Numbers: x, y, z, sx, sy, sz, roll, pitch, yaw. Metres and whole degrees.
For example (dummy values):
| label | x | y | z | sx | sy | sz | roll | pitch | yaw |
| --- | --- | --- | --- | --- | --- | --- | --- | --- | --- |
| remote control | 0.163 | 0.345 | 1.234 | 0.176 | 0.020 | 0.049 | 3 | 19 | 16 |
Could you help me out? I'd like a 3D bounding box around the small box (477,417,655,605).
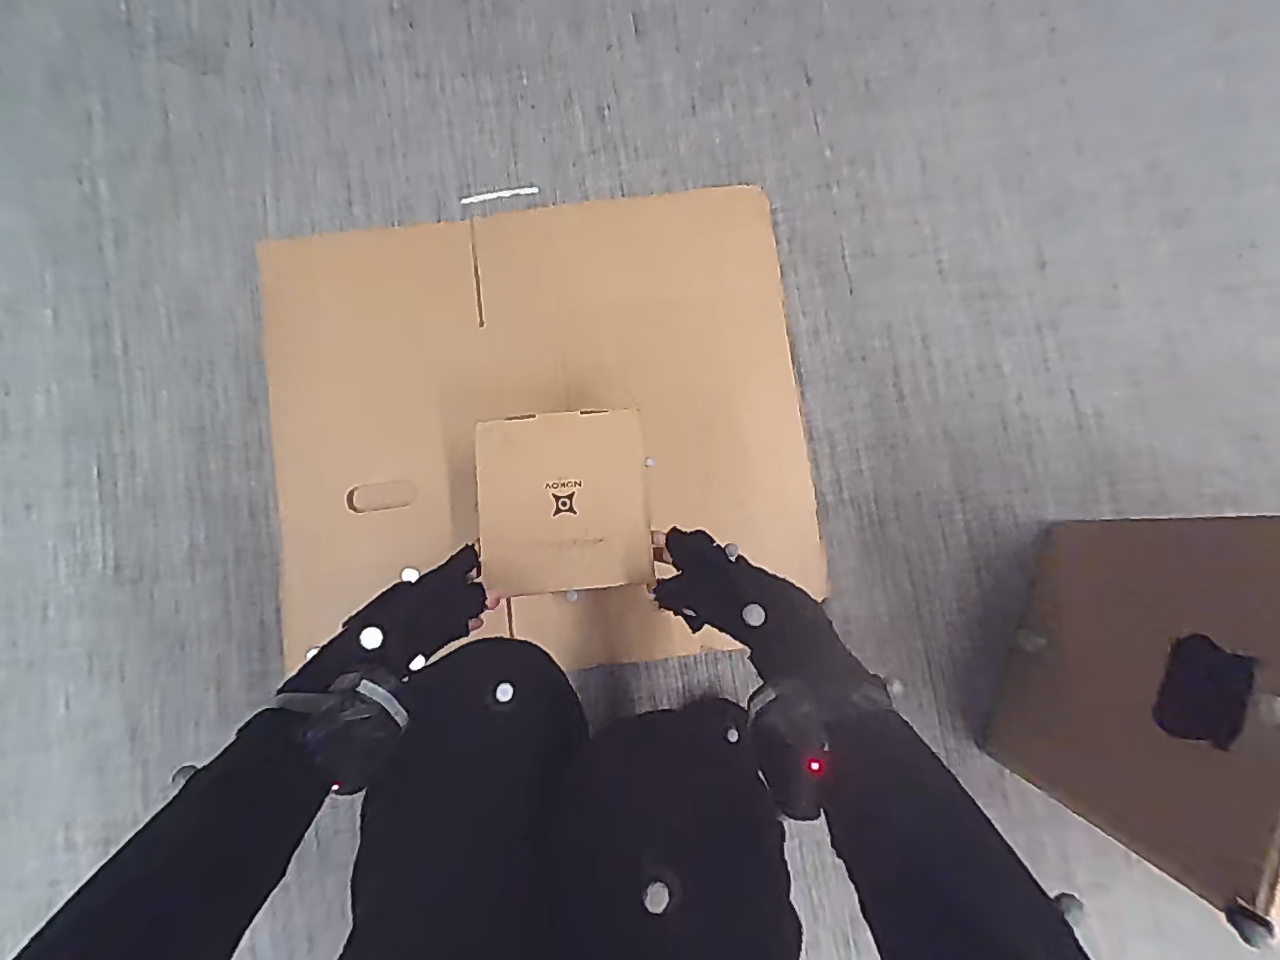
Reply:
| label | x | y | z | sx | sy | sz | roll | pitch | yaw |
| --- | --- | --- | --- | --- | --- | --- | --- | --- | --- |
| small box | -0.078 | 0.040 | 0.609 | 0.168 | 0.176 | 0.179 | -6 | 82 | -2 |
